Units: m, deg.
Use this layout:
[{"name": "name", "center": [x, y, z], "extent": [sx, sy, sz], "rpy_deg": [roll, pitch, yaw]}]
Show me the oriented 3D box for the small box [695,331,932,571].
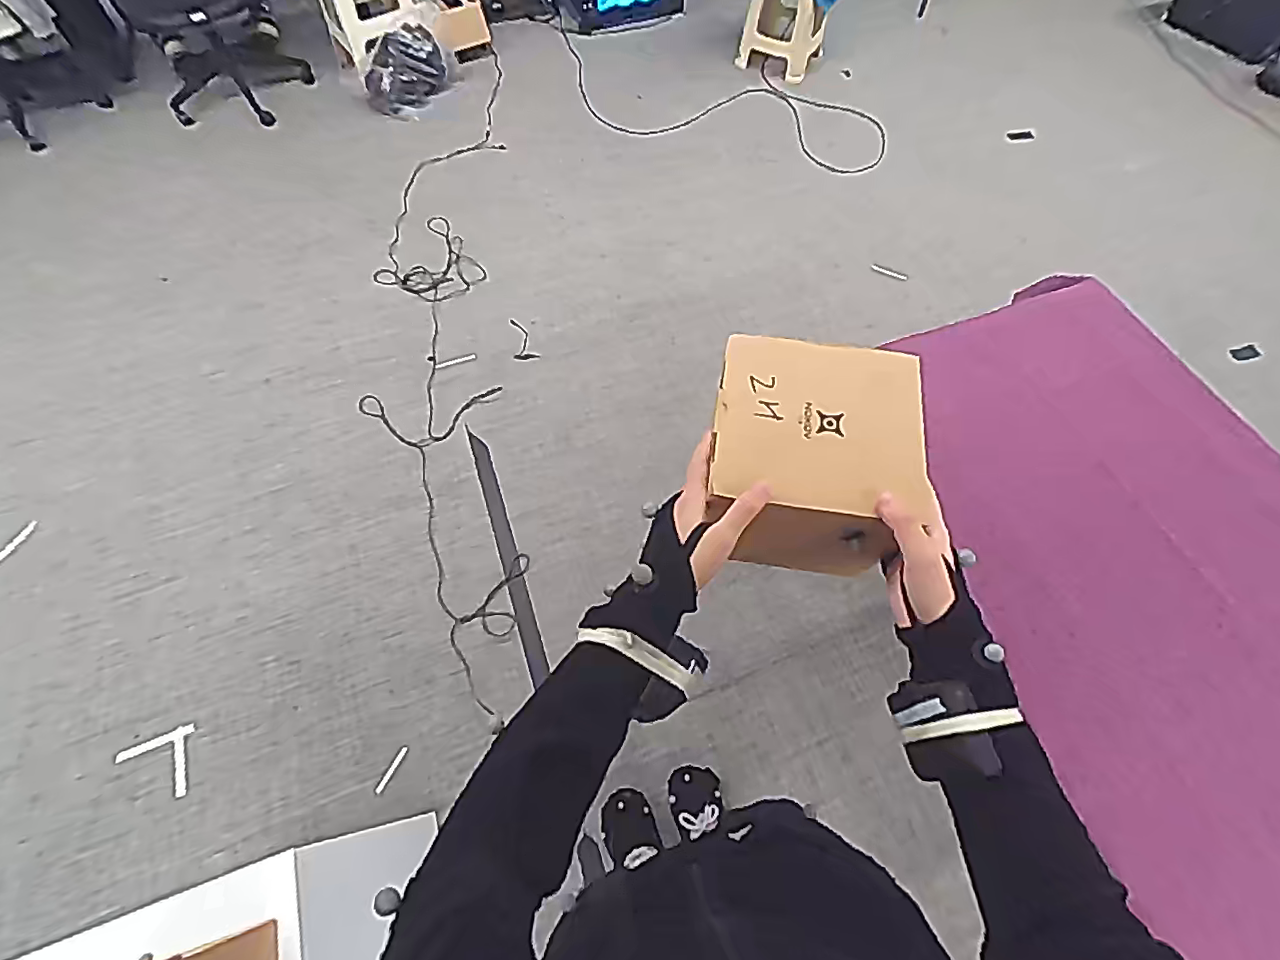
[{"name": "small box", "center": [0.155, -0.017, 0.527], "extent": [0.179, 0.176, 0.168], "rpy_deg": [8, 66, 5]}]
